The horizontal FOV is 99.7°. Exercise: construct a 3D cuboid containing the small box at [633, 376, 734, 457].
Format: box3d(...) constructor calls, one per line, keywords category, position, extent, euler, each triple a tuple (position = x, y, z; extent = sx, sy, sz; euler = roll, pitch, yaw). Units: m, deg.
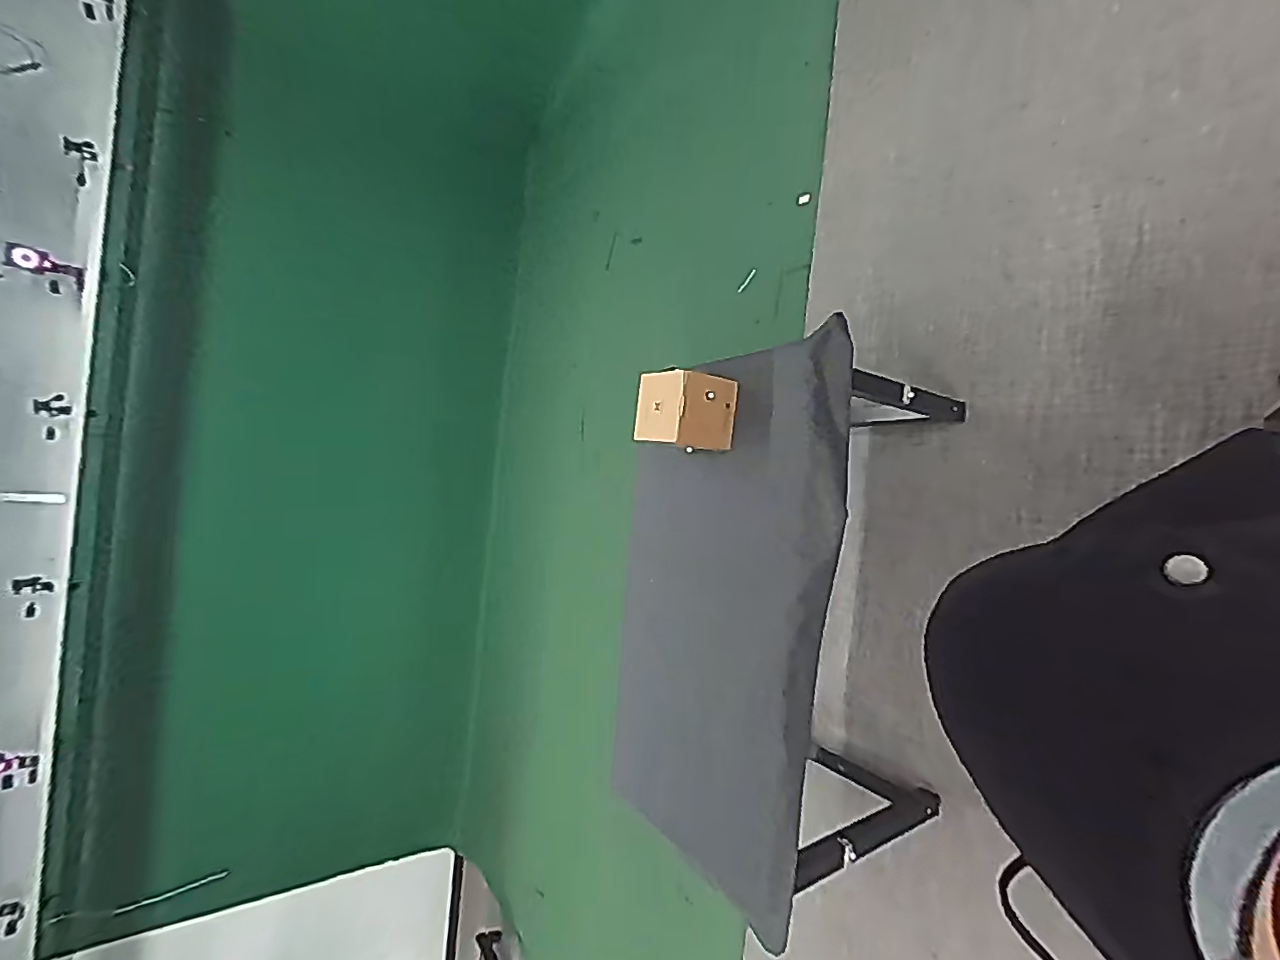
box3d(category="small box", position=(0.106, -0.150, 1.313), extent=(0.179, 0.176, 0.168), euler=(8, 90, 57))
